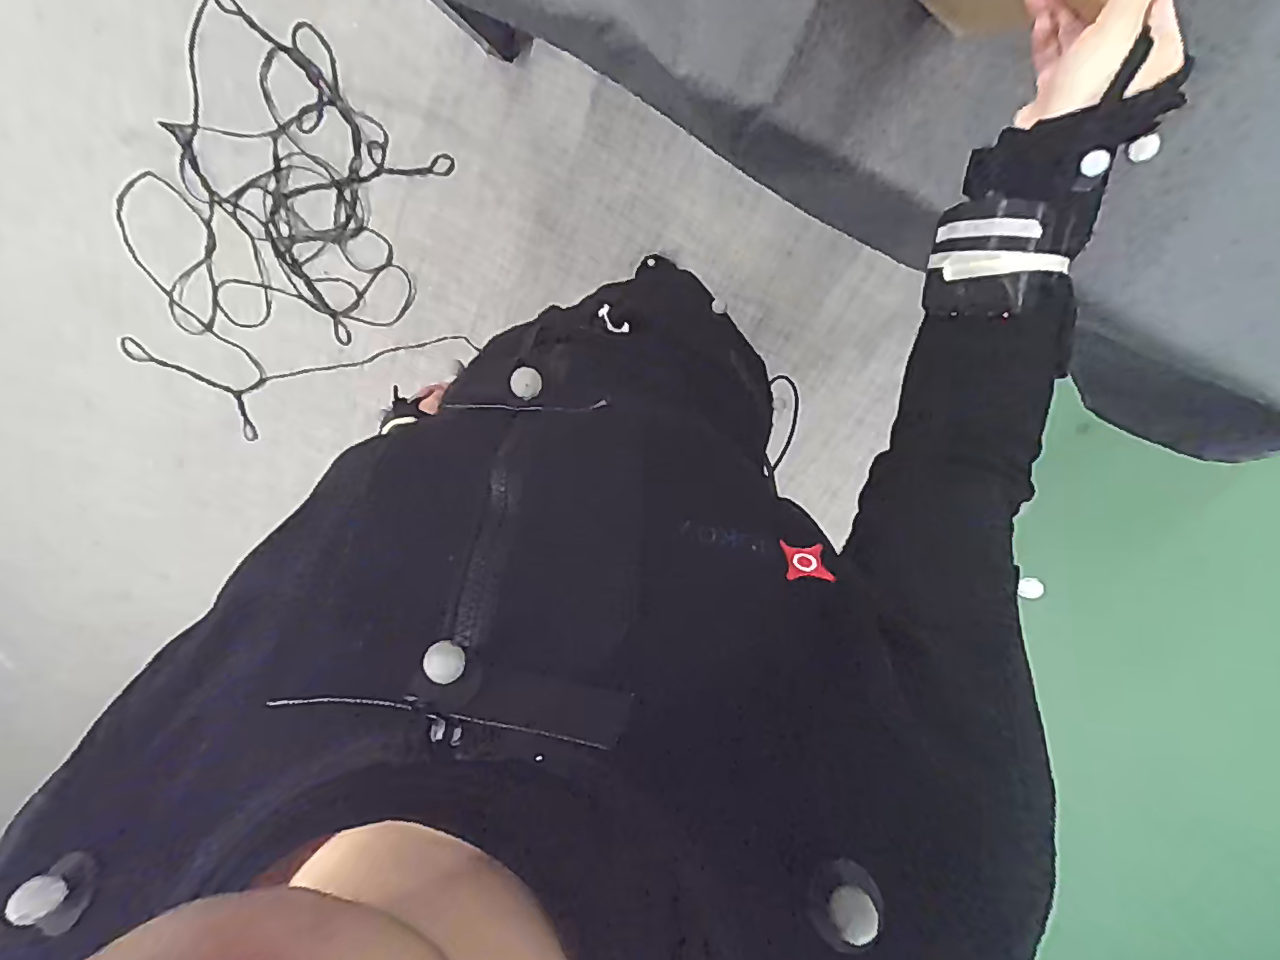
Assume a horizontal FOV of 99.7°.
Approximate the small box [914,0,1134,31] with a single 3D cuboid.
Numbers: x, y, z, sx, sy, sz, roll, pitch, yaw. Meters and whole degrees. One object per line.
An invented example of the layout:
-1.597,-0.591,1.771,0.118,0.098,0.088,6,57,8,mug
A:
0.238,-0.404,0.307,0.168,0.176,0.179,21,121,-19,small box
